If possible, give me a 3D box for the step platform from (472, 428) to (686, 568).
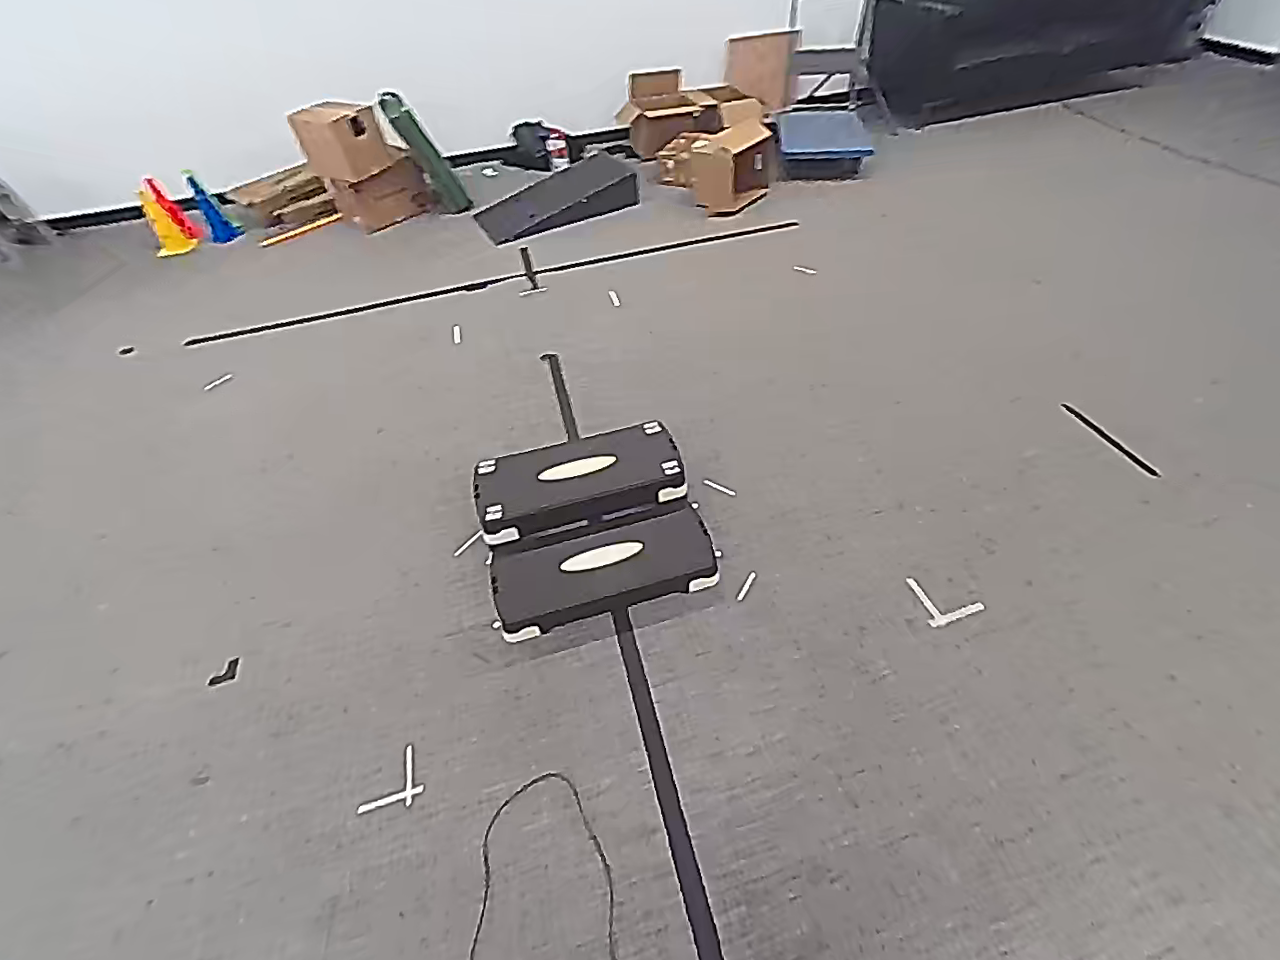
[{"bbox_3d":[-0.197,0.048,1.780,0.684,0.204,0.286,-15,50,-9],"label":"step platform"}]
